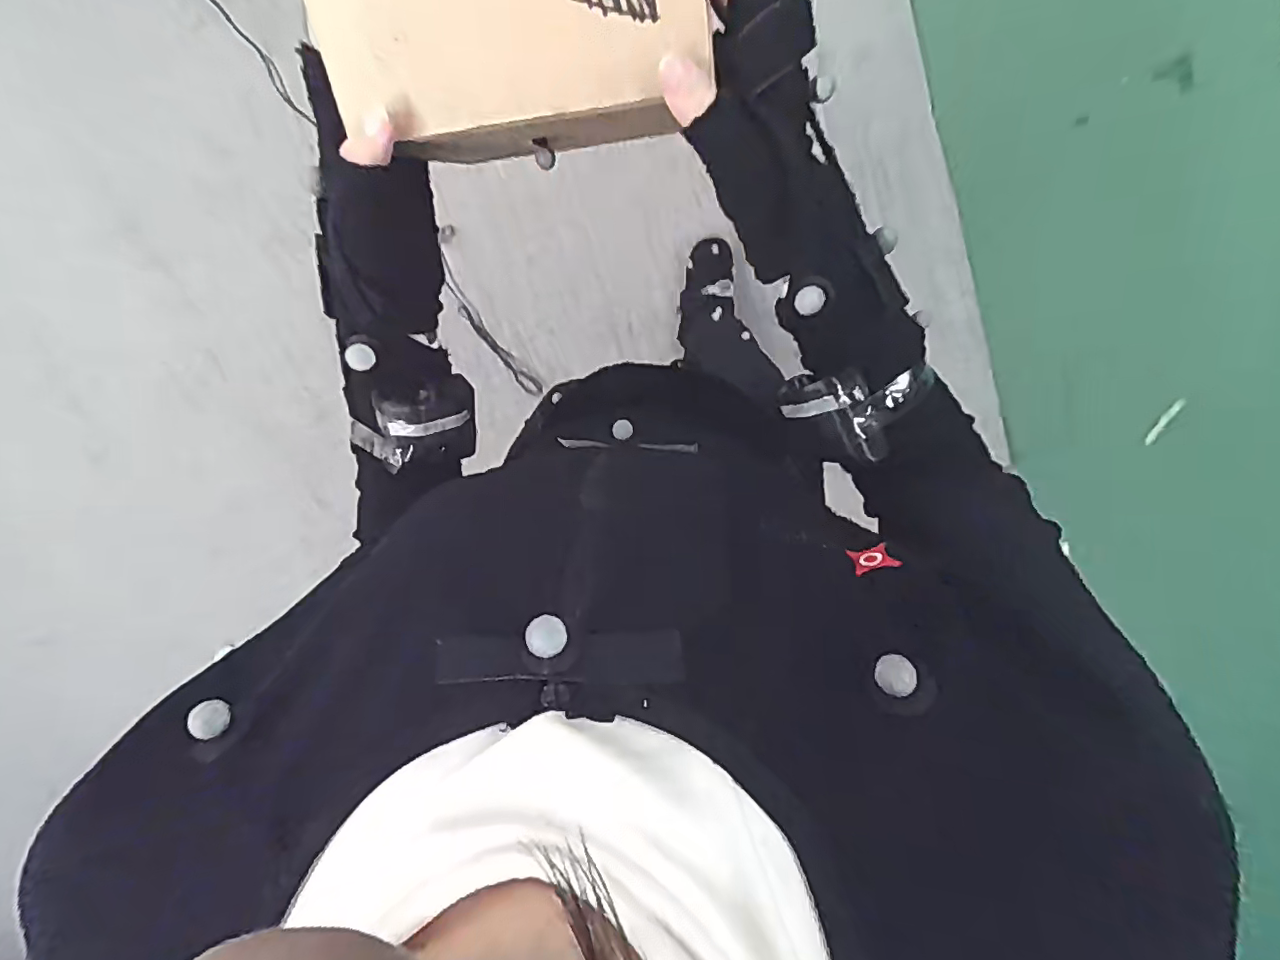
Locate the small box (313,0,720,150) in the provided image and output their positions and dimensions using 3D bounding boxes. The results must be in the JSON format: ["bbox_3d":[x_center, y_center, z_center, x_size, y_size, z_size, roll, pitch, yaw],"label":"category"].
[{"bbox_3d":[-0.056,-0.281,0.281,0.179,0.176,0.168,-5,118,7],"label":"small box"}]
